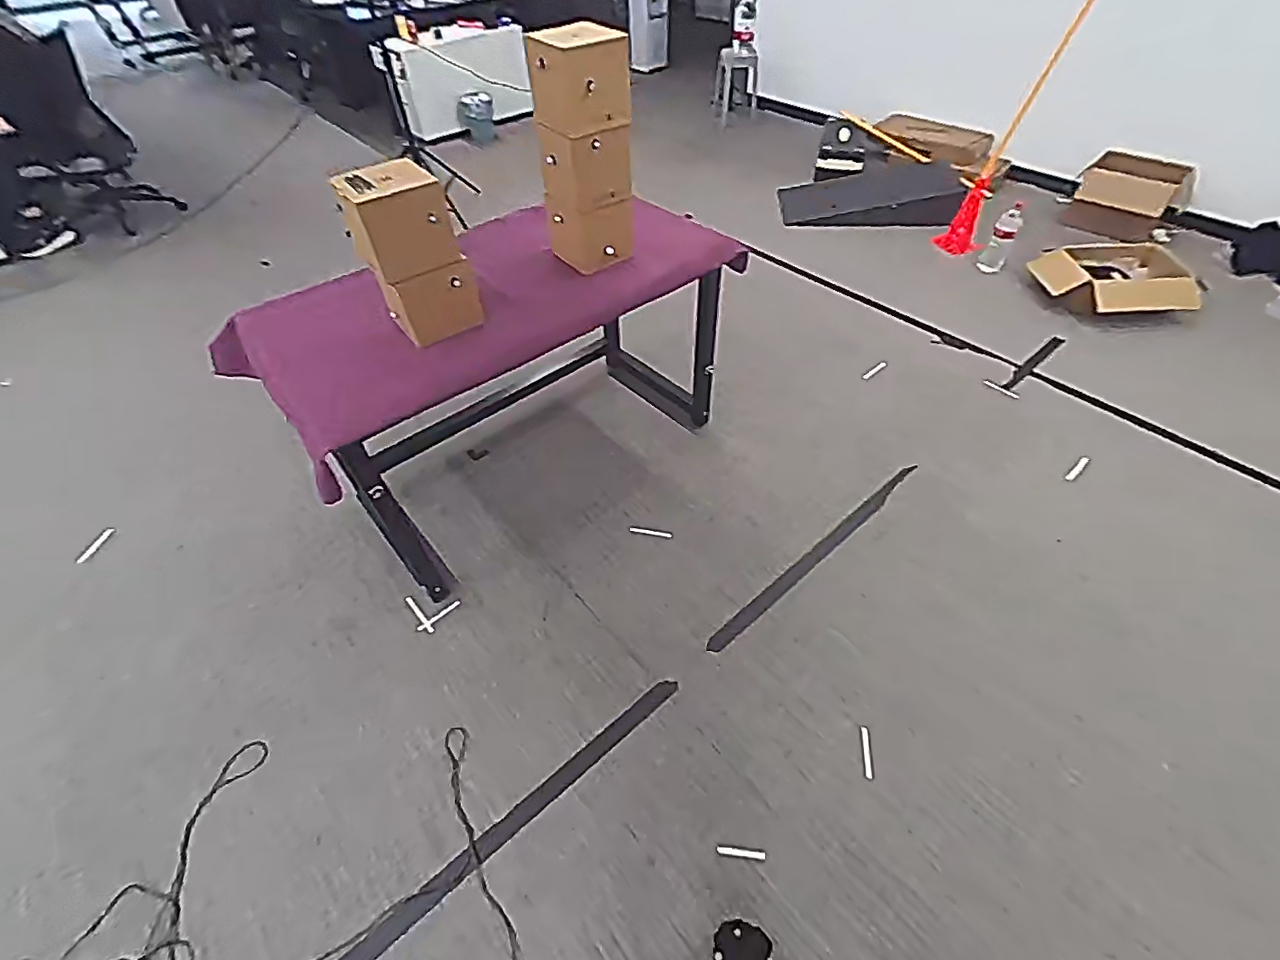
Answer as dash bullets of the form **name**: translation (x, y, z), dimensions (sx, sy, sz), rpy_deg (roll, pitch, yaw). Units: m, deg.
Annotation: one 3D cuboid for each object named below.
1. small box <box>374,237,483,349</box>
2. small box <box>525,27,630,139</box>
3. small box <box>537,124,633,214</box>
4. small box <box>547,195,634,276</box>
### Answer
- **small box**: translation (-0.492, -0.442, 1.283), dimensions (0.179, 0.176, 0.168), rpy_deg (-31, 54, -22)
- **small box**: translation (-0.134, -0.893, 1.224), dimensions (0.168, 0.176, 0.179), rpy_deg (-30, 54, -21)
- **small box**: translation (-0.134, -0.791, 1.352), dimensions (0.168, 0.176, 0.179), rpy_deg (-30, 54, -21)
- **small box**: translation (-0.131, -0.687, 1.479), dimensions (0.168, 0.176, 0.179), rpy_deg (-32, 56, -22)
